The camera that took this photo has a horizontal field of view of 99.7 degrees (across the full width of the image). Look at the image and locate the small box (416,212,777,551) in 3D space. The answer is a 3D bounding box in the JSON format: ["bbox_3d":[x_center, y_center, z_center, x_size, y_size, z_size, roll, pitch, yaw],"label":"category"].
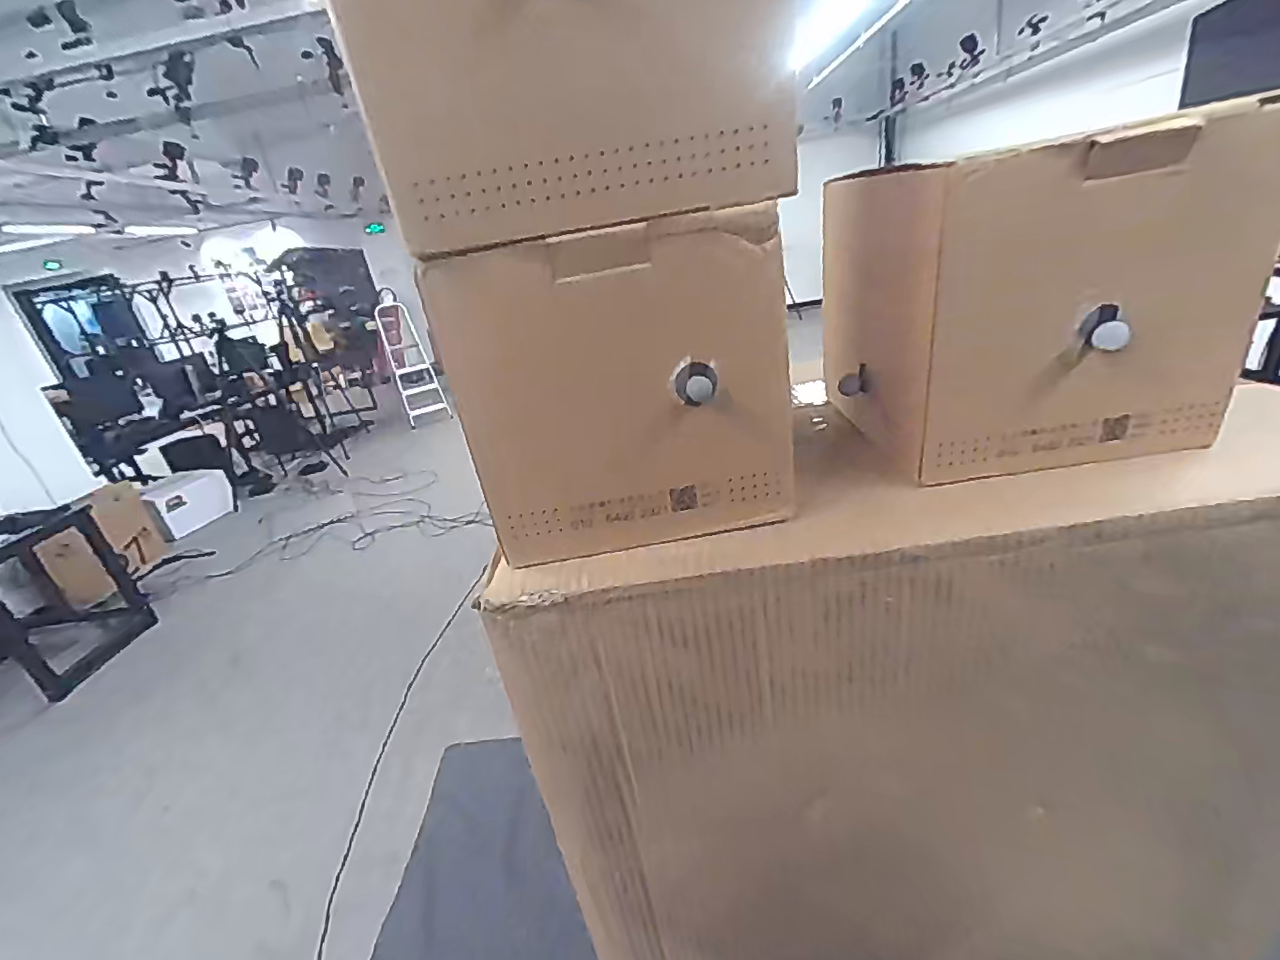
[{"bbox_3d":[-0.015,-0.066,0.350,0.168,0.176,0.179,-9,25,0],"label":"small box"}]

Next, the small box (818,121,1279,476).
[{"bbox_3d":[0.224,-0.110,0.352,0.168,0.176,0.179,-8,27,3],"label":"small box"}]

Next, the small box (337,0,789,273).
[{"bbox_3d":[-0.035,-0.209,0.272,0.179,0.176,0.168,-11,27,-7],"label":"small box"}]
